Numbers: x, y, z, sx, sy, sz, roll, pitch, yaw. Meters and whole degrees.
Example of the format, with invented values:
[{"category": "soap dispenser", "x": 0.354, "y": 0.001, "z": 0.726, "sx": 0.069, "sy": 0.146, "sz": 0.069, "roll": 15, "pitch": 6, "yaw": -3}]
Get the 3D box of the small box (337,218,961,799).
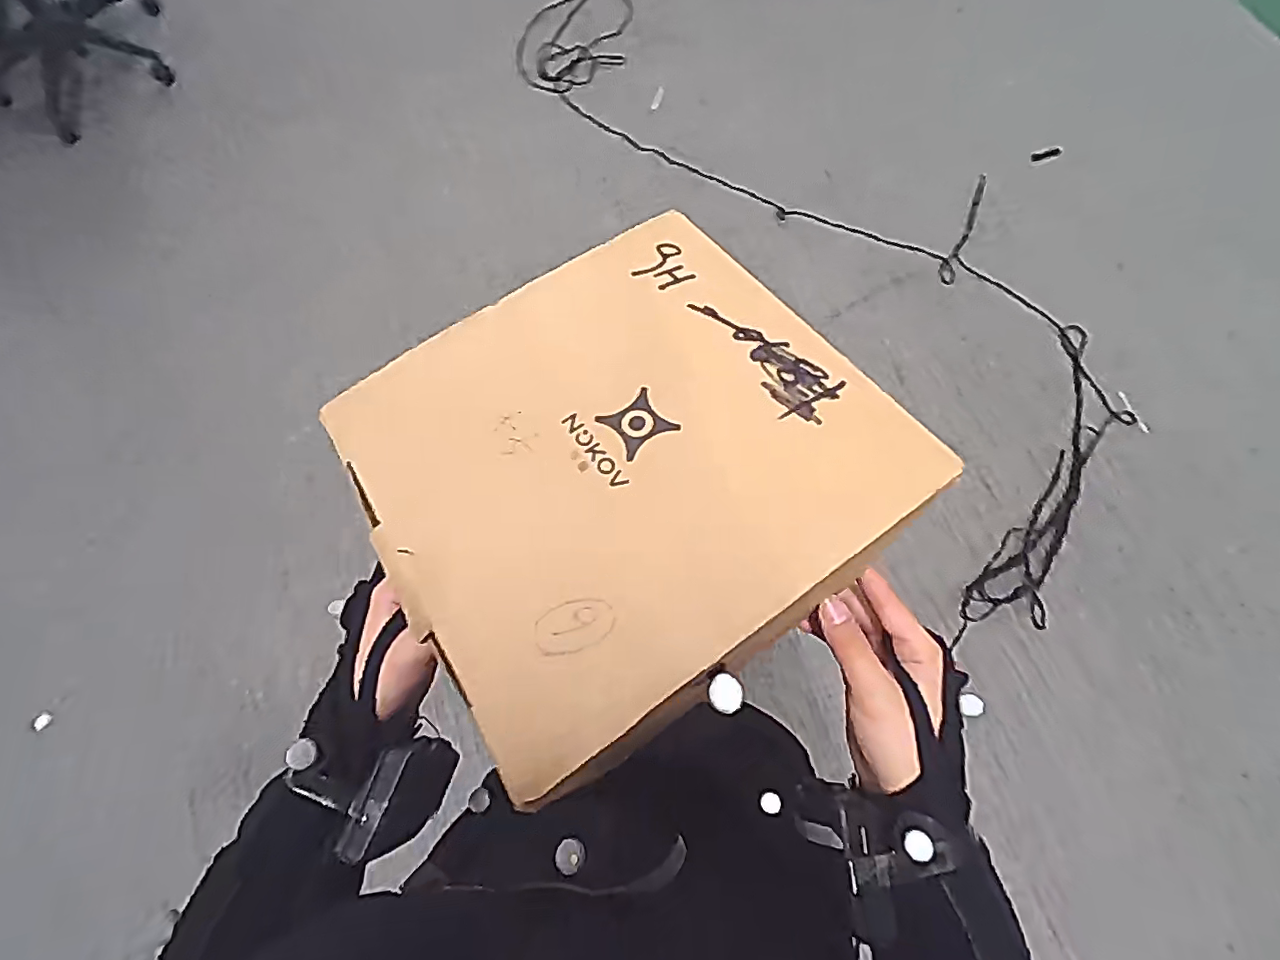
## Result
[{"category": "small box", "x": 0.002, "y": 0.021, "z": 0.267, "sx": 0.179, "sy": 0.176, "sz": 0.168, "roll": -33, "pitch": 66, "yaw": -10}]
